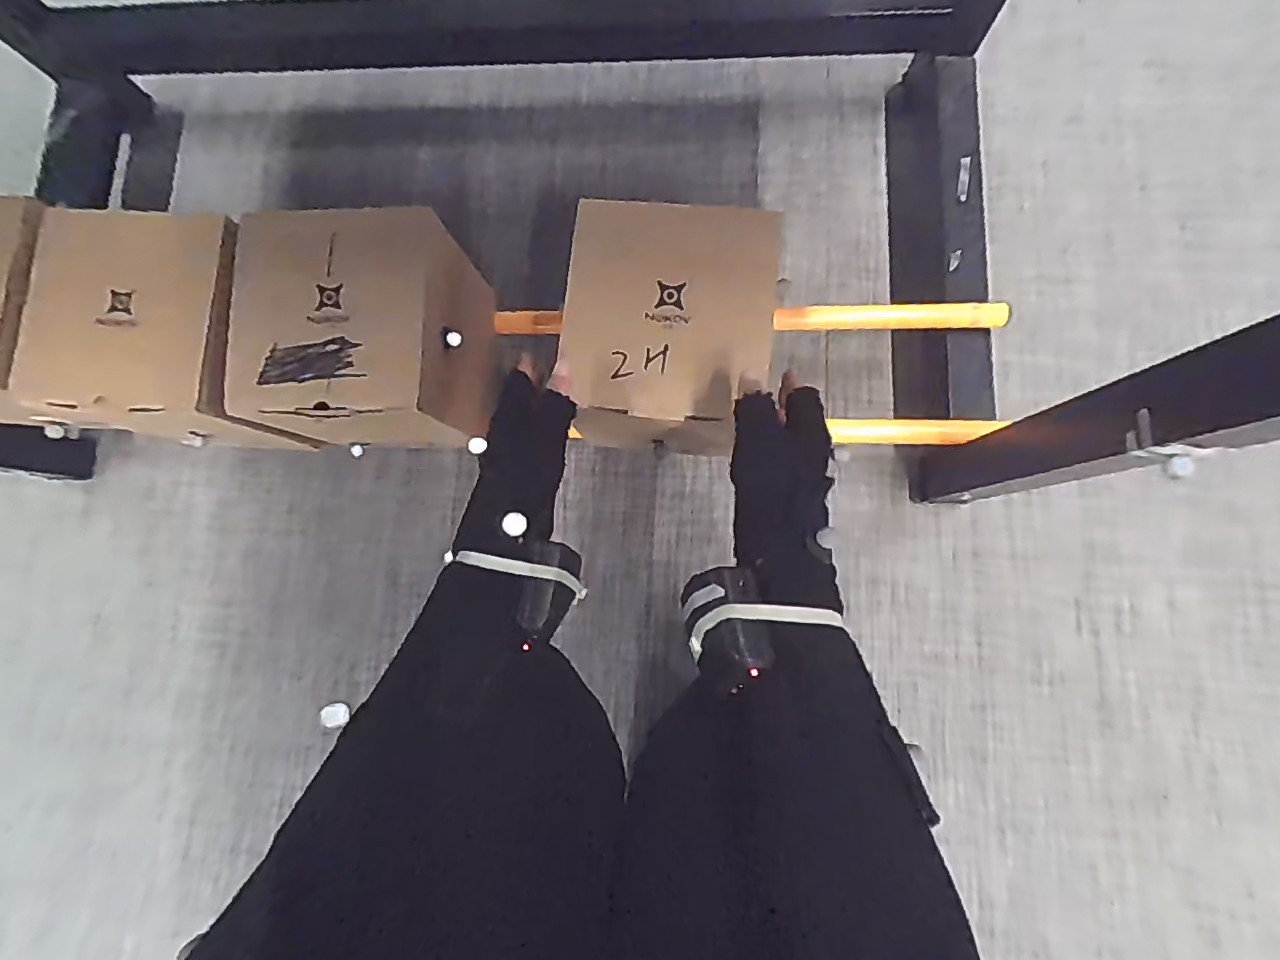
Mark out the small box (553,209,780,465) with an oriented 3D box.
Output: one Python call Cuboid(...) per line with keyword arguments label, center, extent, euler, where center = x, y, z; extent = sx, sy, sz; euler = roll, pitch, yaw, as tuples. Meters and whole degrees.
Cuboid(label="small box", center=(0.027, -0.120, 0.509), extent=(0.168, 0.176, 0.179), euler=(6, 84, 6))
